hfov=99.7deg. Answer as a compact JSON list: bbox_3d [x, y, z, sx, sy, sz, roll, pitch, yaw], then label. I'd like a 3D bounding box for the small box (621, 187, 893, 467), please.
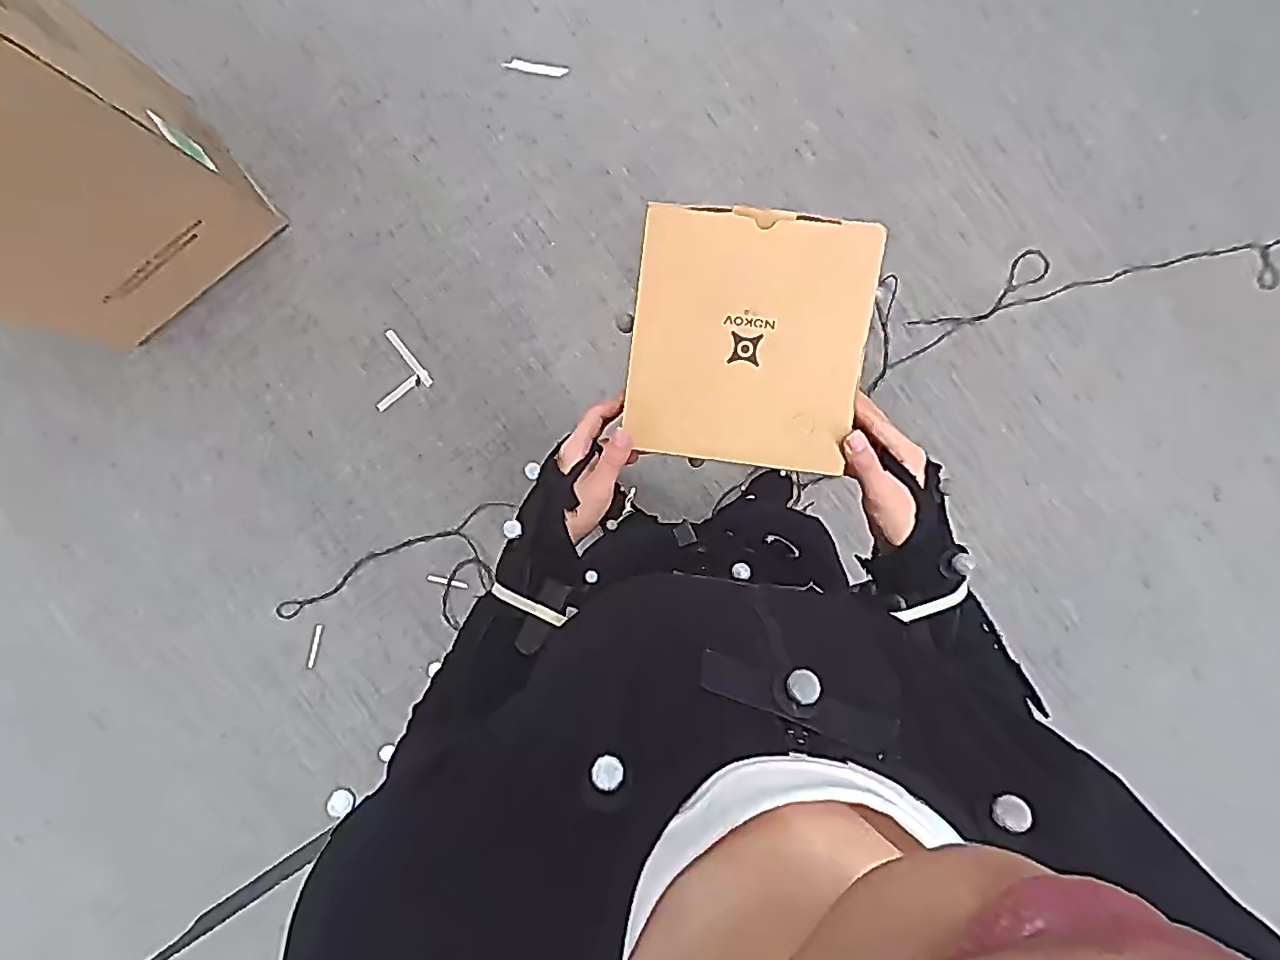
[{"bbox_3d":[0.085,-0.115,0.452,0.168,0.176,0.179,7,98,4],"label":"small box"}]
